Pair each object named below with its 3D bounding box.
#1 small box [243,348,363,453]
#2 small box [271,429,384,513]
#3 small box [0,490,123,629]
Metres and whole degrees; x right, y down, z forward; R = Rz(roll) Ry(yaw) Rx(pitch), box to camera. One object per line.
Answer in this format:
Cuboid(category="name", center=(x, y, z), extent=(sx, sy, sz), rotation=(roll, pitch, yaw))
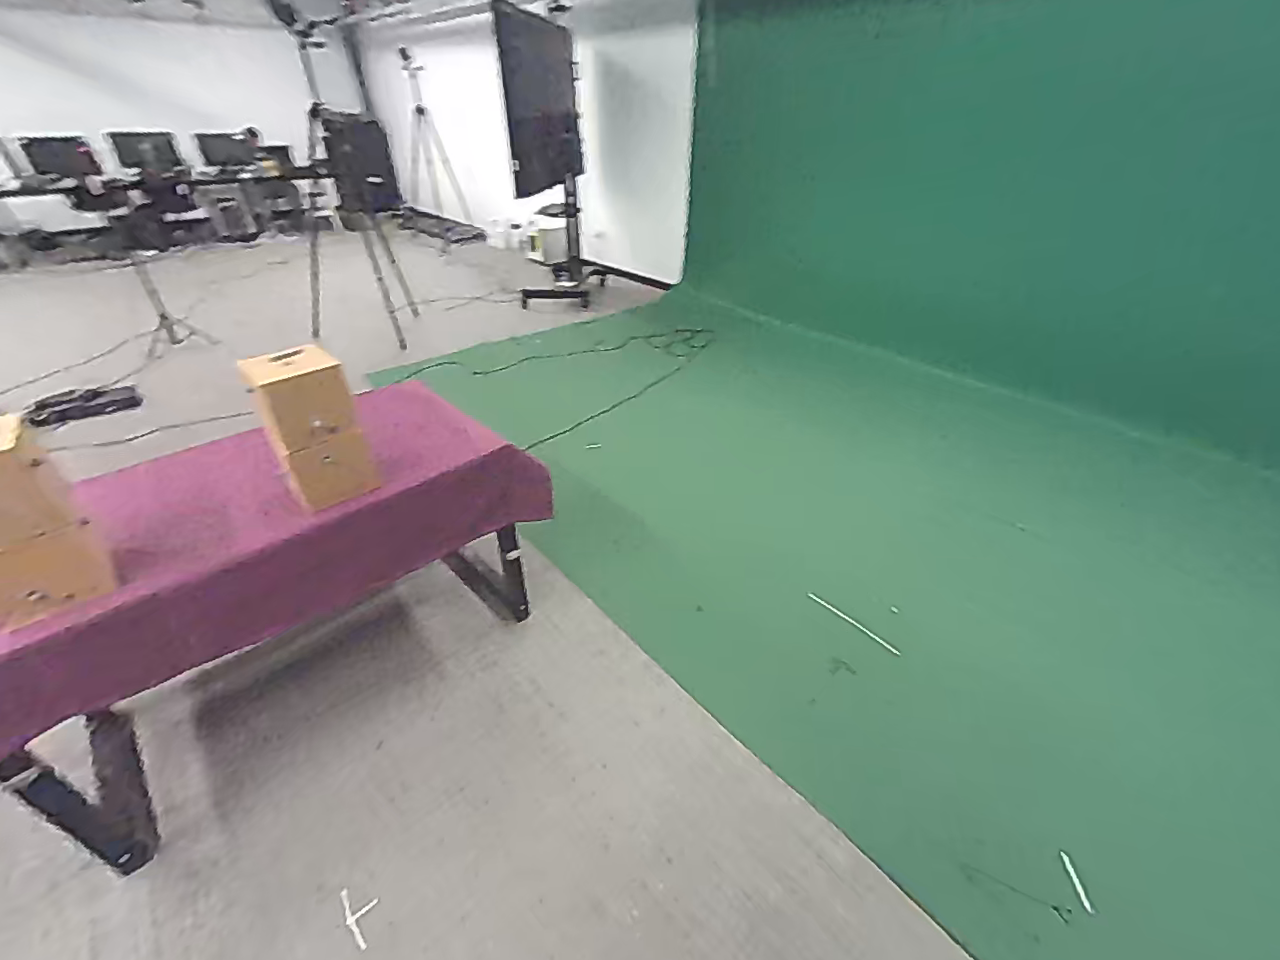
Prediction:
Cuboid(category="small box", center=(-0.772, -0.185, 1.248), extent=(0.168, 0.176, 0.179), rotation=(-30, 45, -35))
Cuboid(category="small box", center=(-0.766, -0.046, 1.336), extent=(0.179, 0.176, 0.168), rotation=(-27, 43, -34))
Cuboid(category="small box", center=(-1.153, 0.152, 1.048), extent=(0.168, 0.176, 0.179), rotation=(-27, 43, -34))
